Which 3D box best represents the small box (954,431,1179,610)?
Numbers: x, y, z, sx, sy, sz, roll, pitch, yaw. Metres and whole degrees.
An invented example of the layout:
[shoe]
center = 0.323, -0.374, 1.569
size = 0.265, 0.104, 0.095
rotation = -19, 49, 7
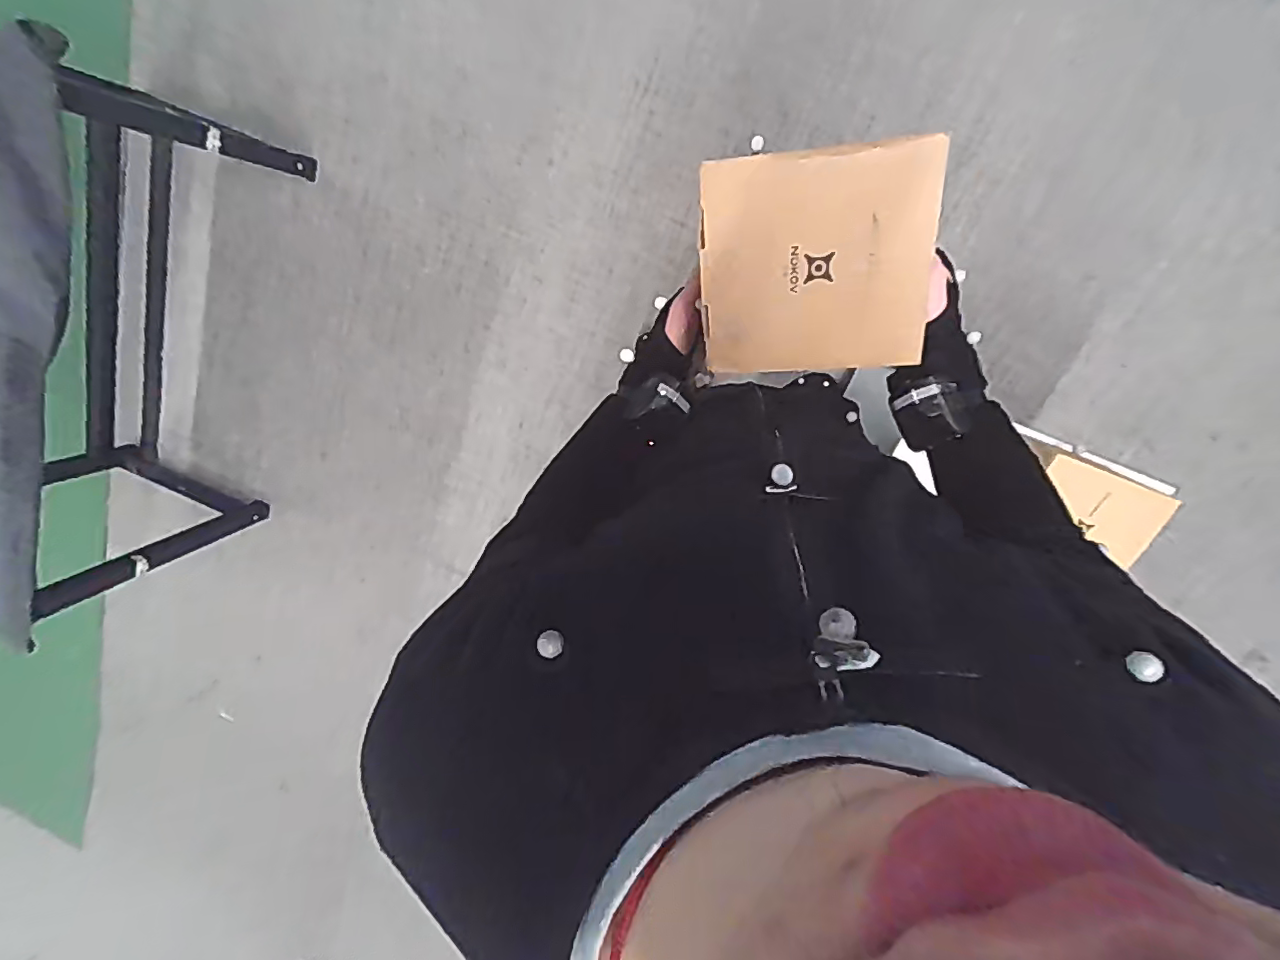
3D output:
[small box]
center = 0.595, 0.049, 0.791
size = 0.168, 0.176, 0.179
rotation = 23, 110, 3
